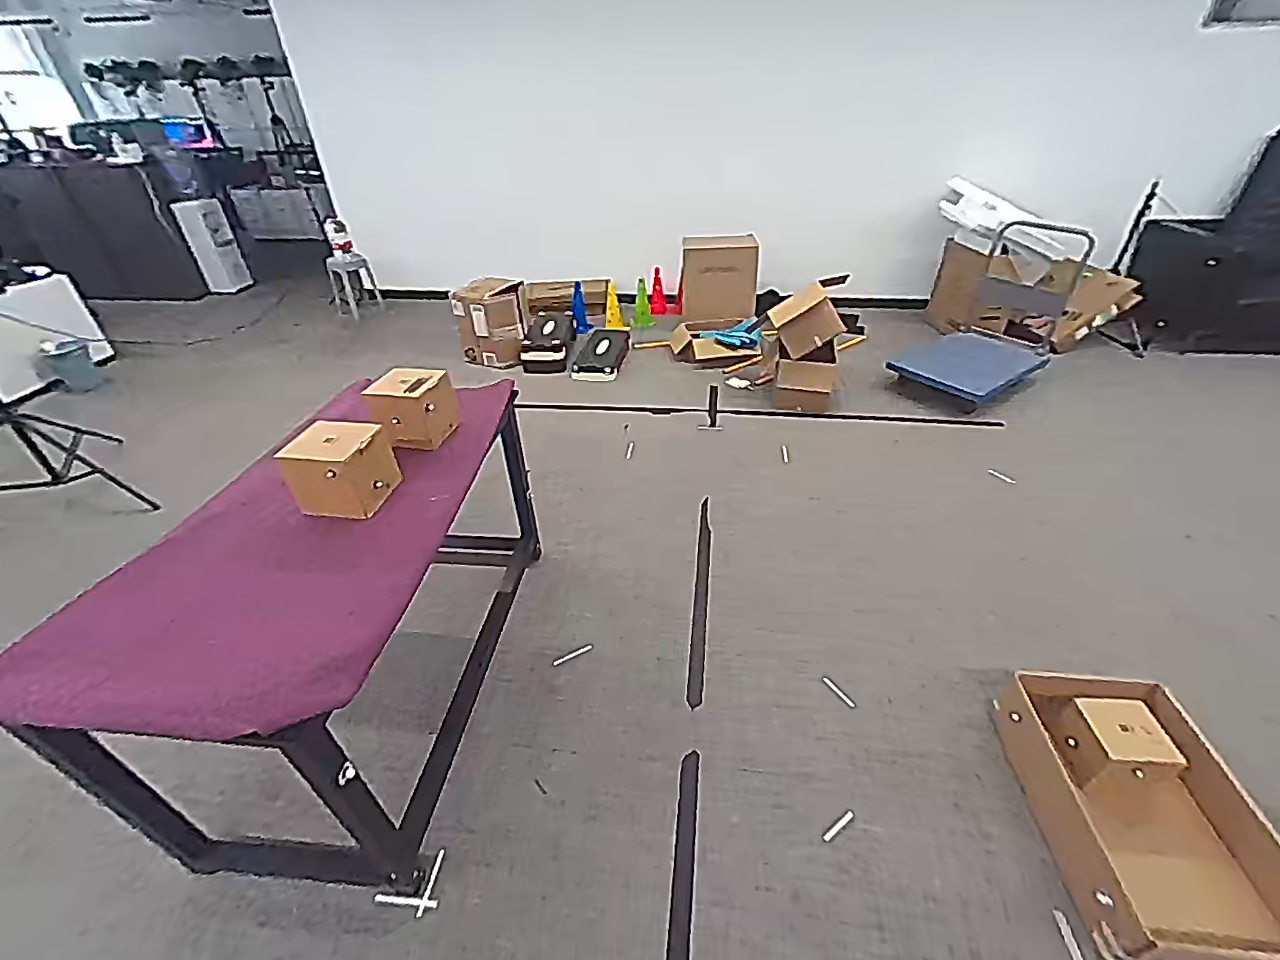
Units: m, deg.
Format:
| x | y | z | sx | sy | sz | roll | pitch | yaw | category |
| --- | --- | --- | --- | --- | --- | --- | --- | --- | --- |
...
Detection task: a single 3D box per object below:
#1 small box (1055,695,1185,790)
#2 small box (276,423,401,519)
| x | y | z | sx | sy | sz | roll | pitch | yaw | category |
| --- | --- | --- | --- | --- | --- | --- | --- | --- | --- |
| 1.232 | 0.686 | 1.412 | 0.179 | 0.176 | 0.168 | 1 | 37 | 4 | small box |
| -0.713 | -0.023 | 1.300 | 0.179 | 0.176 | 0.168 | 4 | 36 | 7 | small box |
